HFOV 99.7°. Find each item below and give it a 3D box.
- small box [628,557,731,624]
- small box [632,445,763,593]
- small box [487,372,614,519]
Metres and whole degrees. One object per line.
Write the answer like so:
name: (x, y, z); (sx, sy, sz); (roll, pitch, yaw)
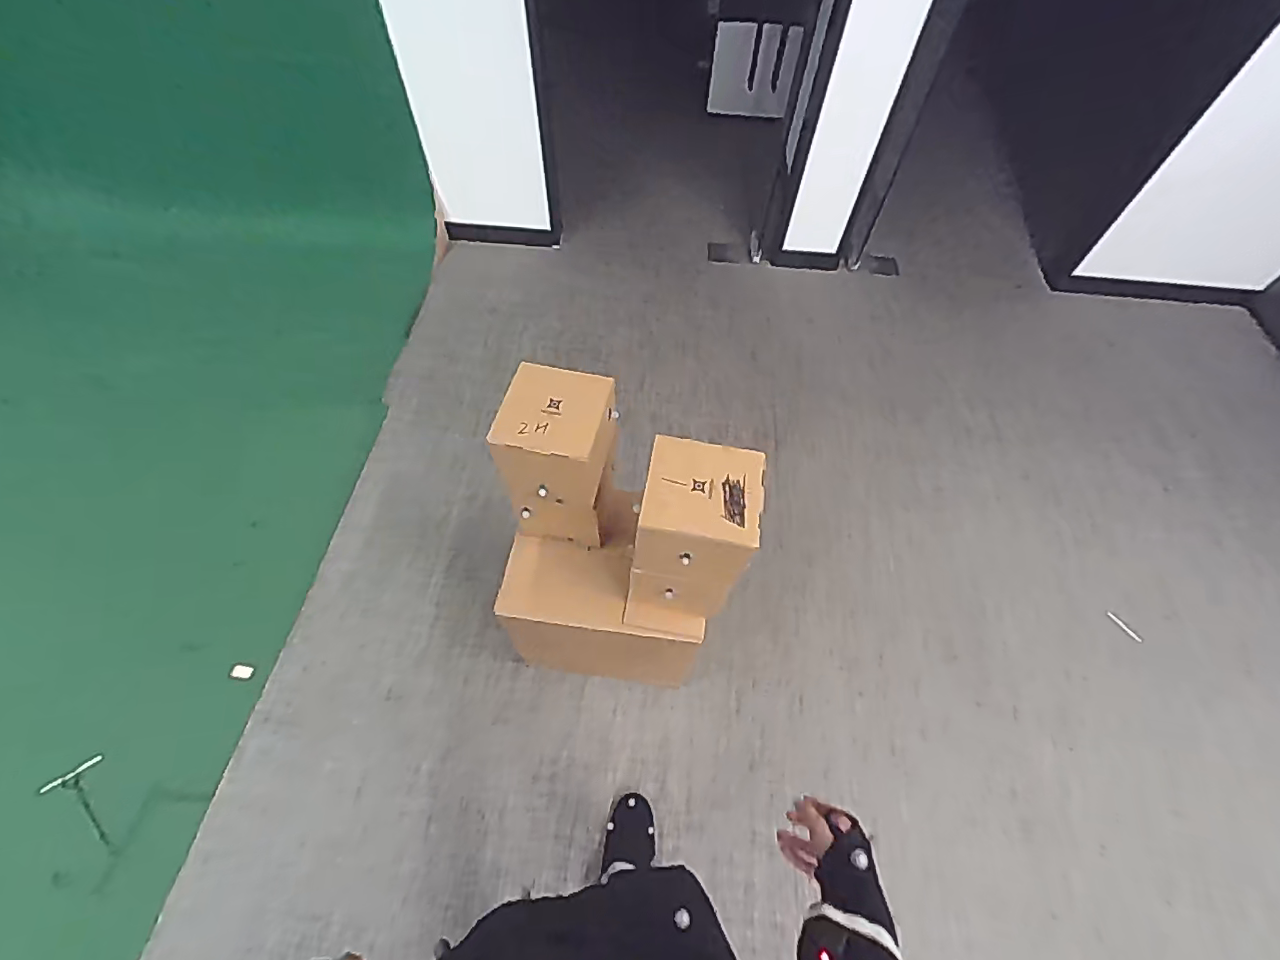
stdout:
small box: (0.077, 0.157, 1.009); (0.179, 0.176, 0.168); (9, 60, 4)
small box: (0.088, 0.069, 0.871); (0.179, 0.176, 0.168); (10, 58, 4)
small box: (-0.145, -0.057, 0.945); (0.168, 0.176, 0.179); (11, 58, 6)
